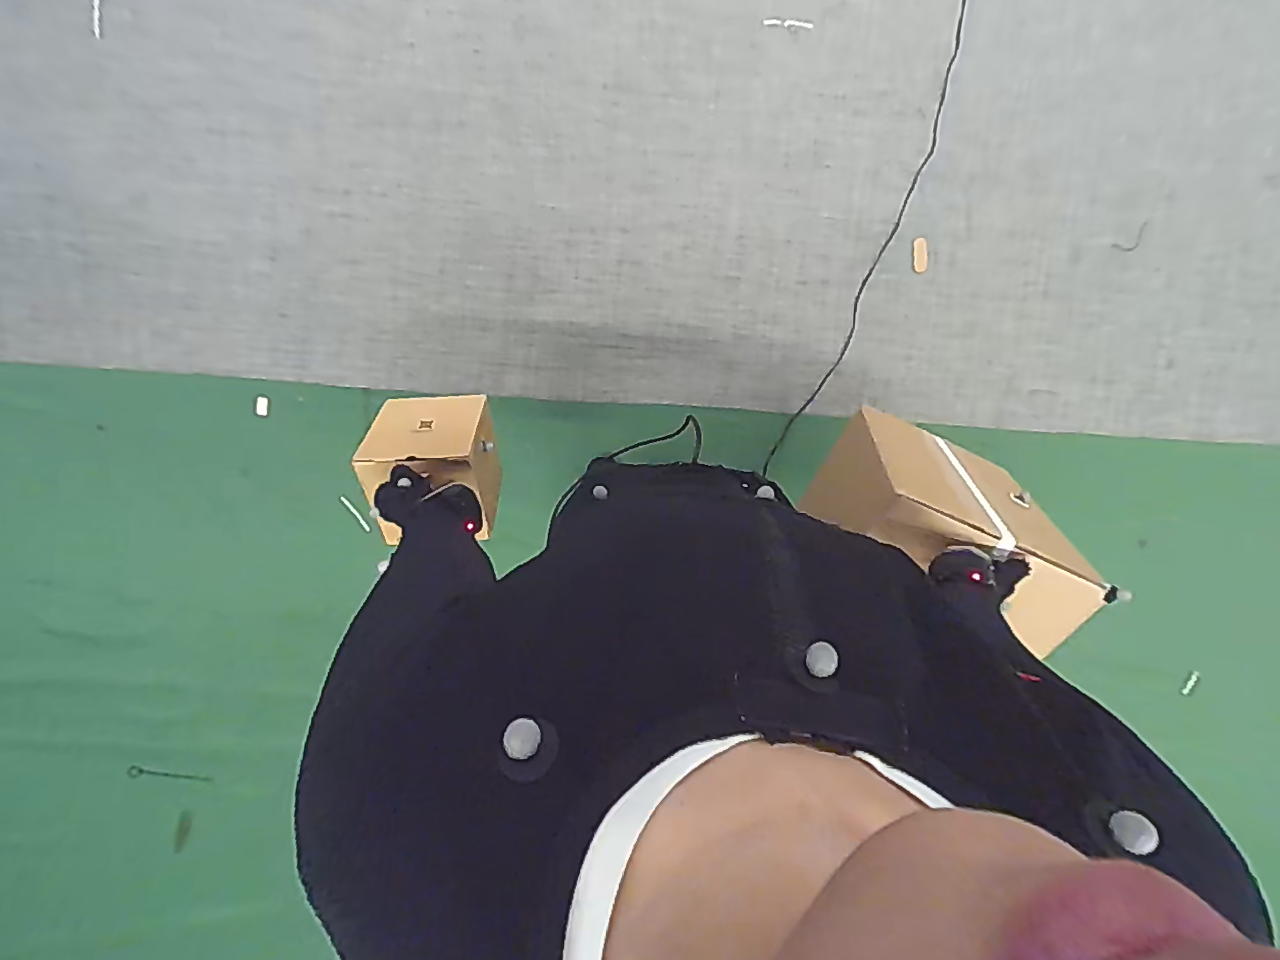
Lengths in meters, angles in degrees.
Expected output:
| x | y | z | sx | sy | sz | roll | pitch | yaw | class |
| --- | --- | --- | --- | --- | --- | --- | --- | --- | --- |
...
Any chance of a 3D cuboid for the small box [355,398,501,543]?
| x | y | z | sx | sy | sz | roll | pitch | yaw | class |
| --- | --- | --- | --- | --- | --- | --- | --- | --- | --- |
| -0.330 | -0.018 | 0.885 | 0.168 | 0.179 | 0.176 | -3 | 130 | -3 | small box |
